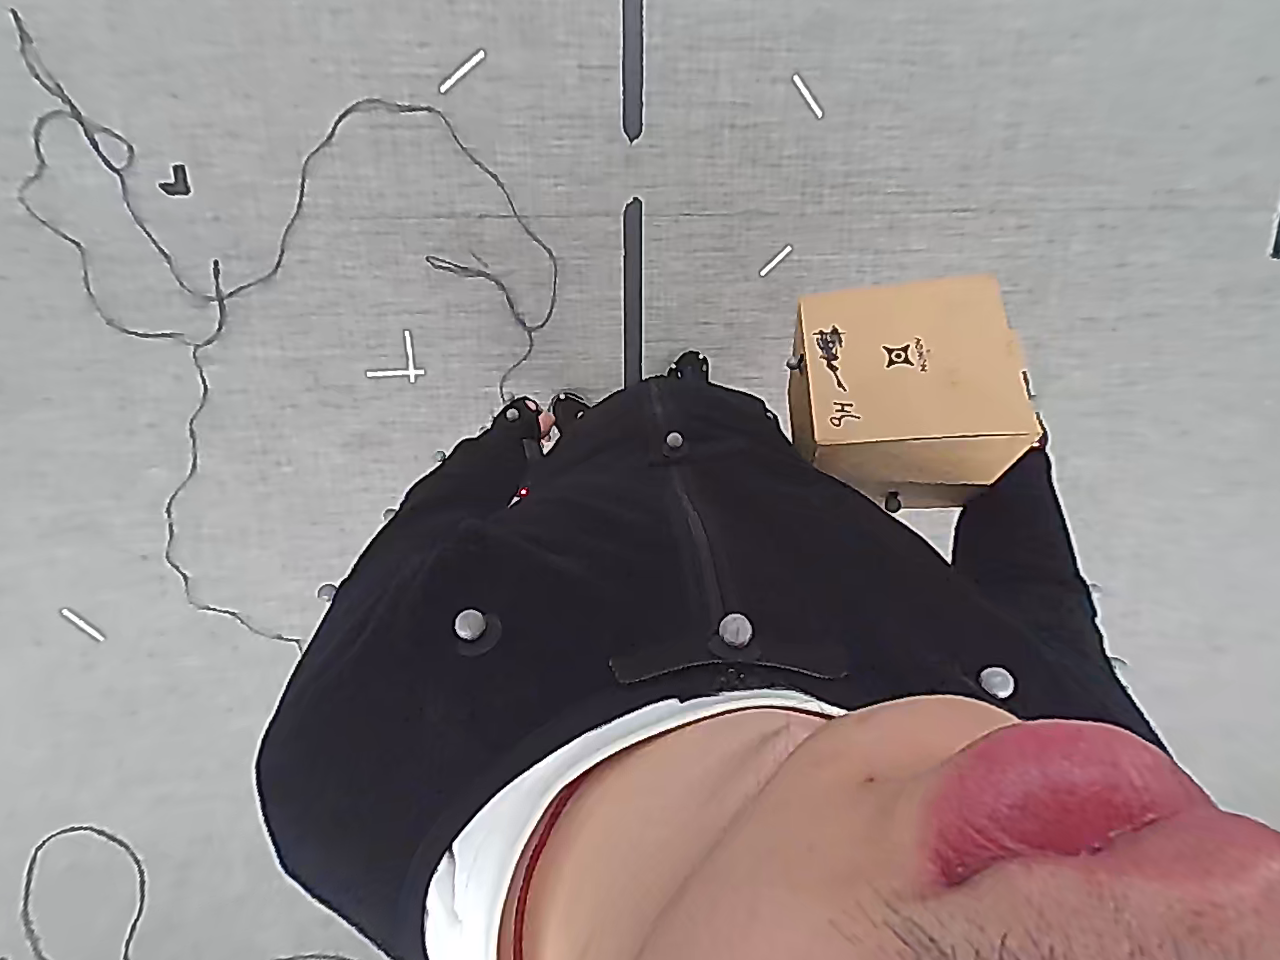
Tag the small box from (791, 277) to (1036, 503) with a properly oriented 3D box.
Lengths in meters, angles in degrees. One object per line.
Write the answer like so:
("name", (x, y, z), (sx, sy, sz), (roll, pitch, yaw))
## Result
("small box", (0.258, -0.081, 0.561), (0.179, 0.176, 0.168), (-2, 66, 10))
